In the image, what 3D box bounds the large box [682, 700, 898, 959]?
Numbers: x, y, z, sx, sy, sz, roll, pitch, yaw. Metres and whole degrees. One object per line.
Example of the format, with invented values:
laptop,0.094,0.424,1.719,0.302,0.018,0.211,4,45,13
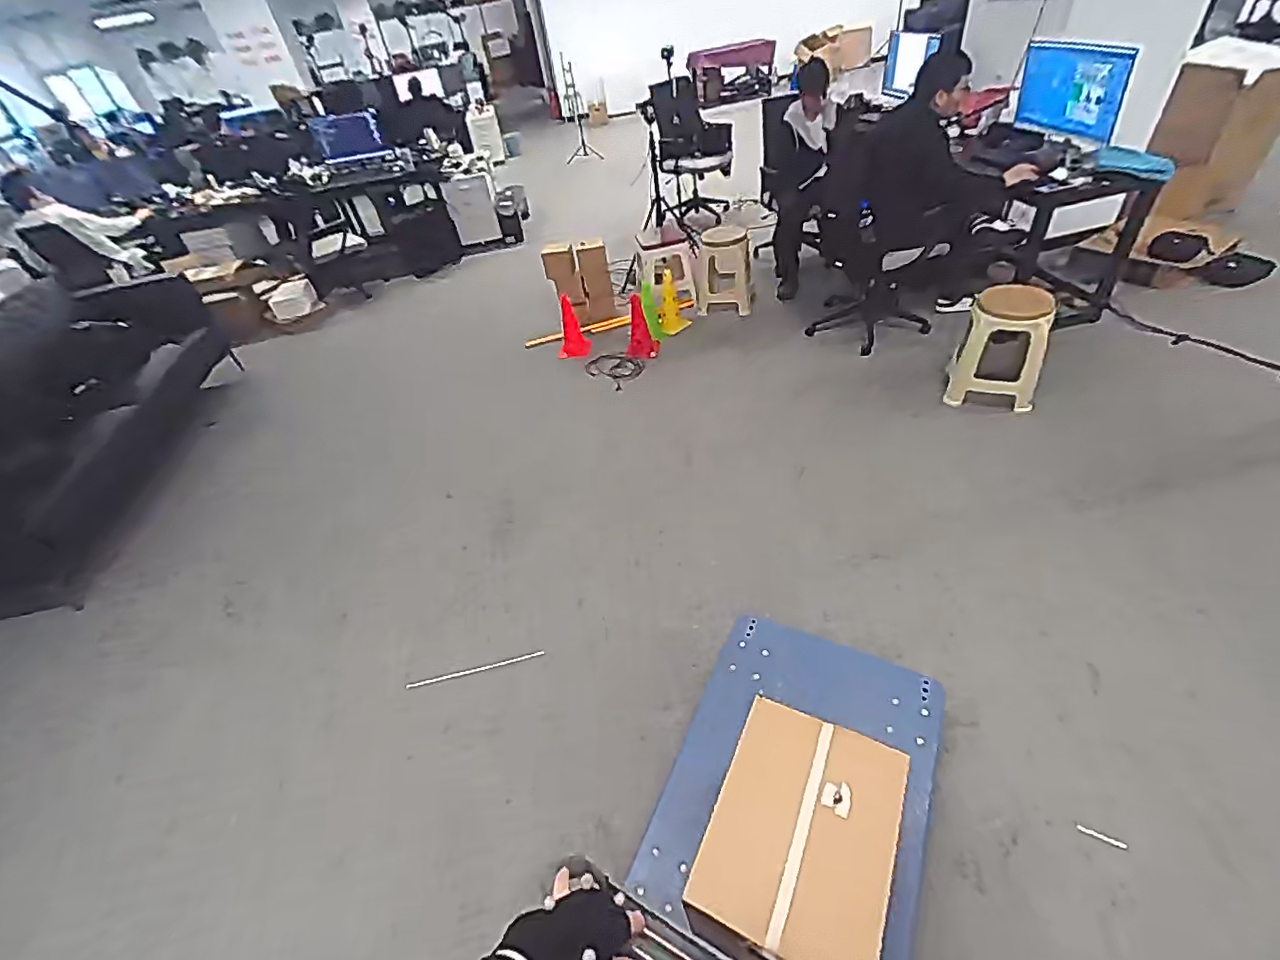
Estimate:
large box,0.311,0.755,1.107,0.320,0.320,0.408,15,46,24
